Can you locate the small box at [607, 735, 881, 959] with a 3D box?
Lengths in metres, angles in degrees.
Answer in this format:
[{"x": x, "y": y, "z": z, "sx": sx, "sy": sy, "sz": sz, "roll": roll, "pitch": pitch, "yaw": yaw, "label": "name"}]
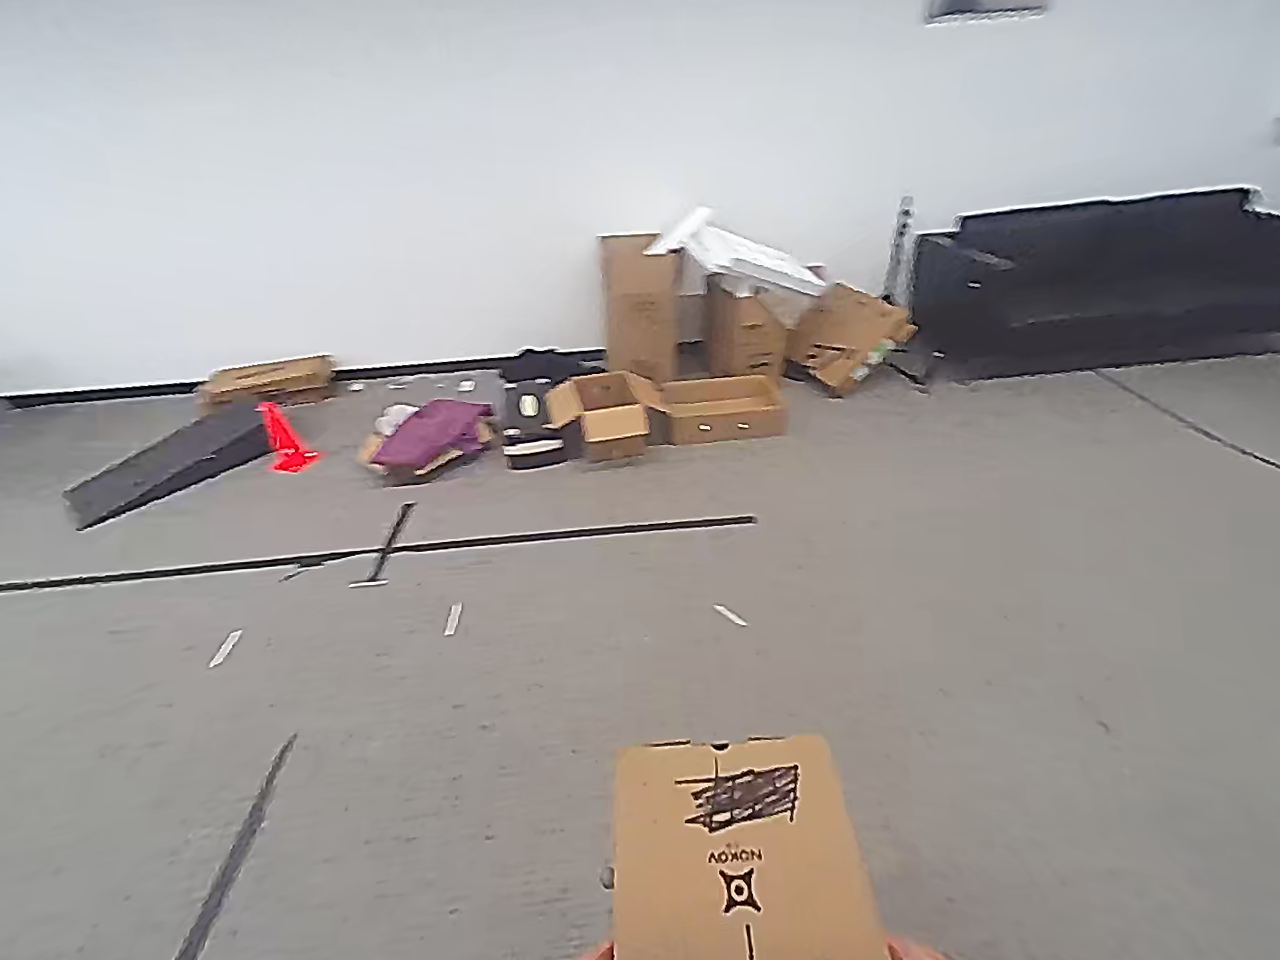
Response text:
[{"x": 0.063, "y": 0.321, "z": 0.406, "sx": 0.168, "sy": 0.176, "sz": 0.179, "roll": -5, "pitch": 40, "yaw": 0, "label": "small box"}]
